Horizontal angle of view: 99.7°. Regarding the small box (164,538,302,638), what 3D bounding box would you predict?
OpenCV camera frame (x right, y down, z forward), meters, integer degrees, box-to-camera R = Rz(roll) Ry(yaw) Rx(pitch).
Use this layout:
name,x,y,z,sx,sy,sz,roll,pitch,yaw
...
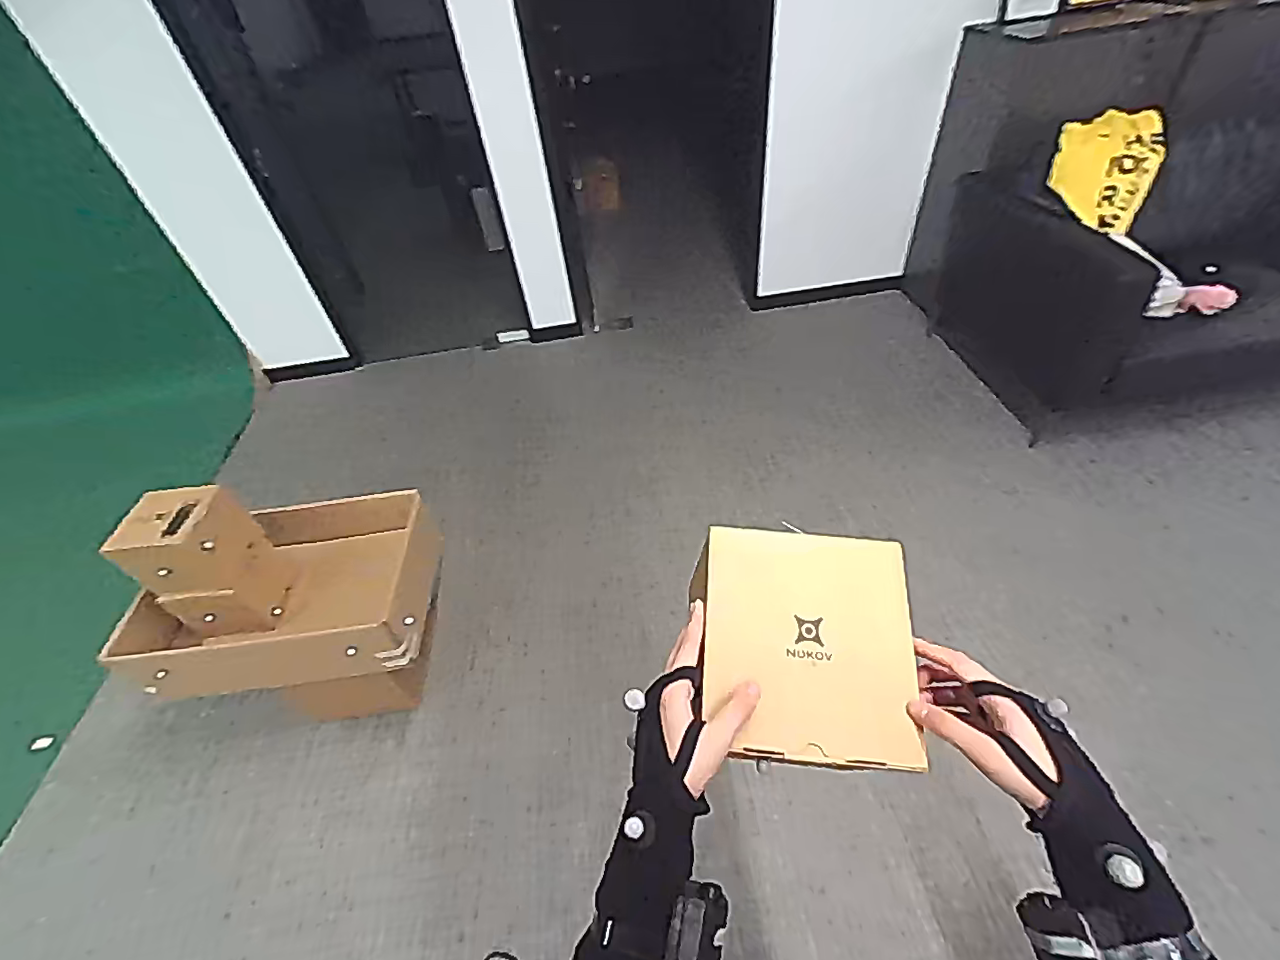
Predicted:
name,x,y,z,sx,sy,sz,roll,pitch,yaw
small box,-0.965,0.263,1.305,0.179,0.176,0.168,-7,45,1
